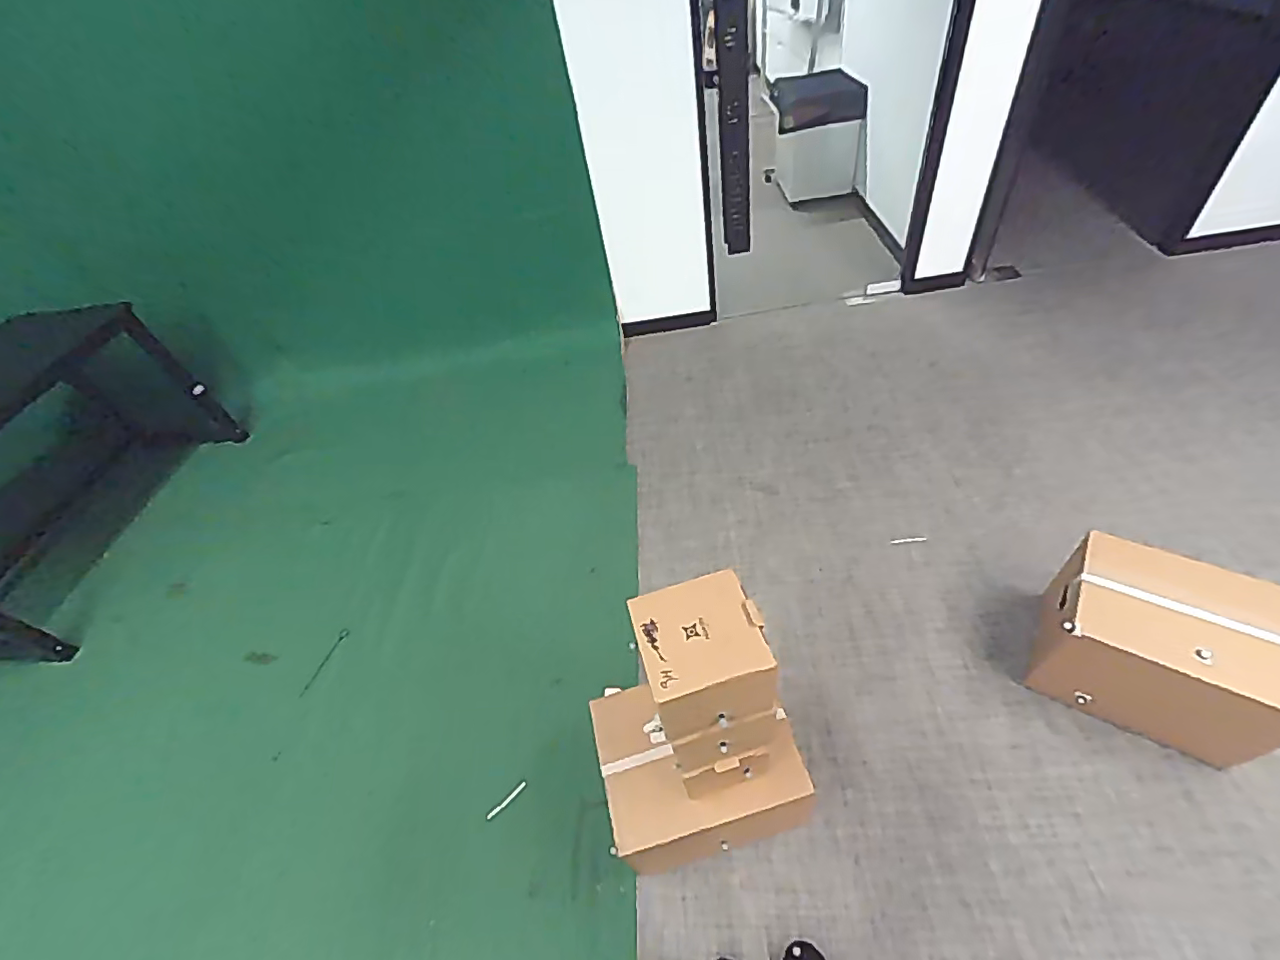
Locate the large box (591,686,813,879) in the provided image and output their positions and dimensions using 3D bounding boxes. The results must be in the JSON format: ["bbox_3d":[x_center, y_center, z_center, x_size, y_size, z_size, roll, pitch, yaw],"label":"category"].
[{"bbox_3d":[0.139,0.659,1.246,0.408,0.320,0.320,-17,45,-2],"label":"large box"}]

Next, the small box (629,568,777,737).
[{"bbox_3d":[0.093,0.267,0.829,0.179,0.176,0.168,-15,46,-4],"label":"small box"}]

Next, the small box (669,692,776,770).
[{"bbox_3d":[0.122,0.378,0.947,0.179,0.176,0.168,-17,47,-4],"label":"small box"}]

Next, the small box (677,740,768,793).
[{"bbox_3d":[0.144,0.492,1.063,0.168,0.176,0.179,-16,46,-3],"label":"small box"}]
